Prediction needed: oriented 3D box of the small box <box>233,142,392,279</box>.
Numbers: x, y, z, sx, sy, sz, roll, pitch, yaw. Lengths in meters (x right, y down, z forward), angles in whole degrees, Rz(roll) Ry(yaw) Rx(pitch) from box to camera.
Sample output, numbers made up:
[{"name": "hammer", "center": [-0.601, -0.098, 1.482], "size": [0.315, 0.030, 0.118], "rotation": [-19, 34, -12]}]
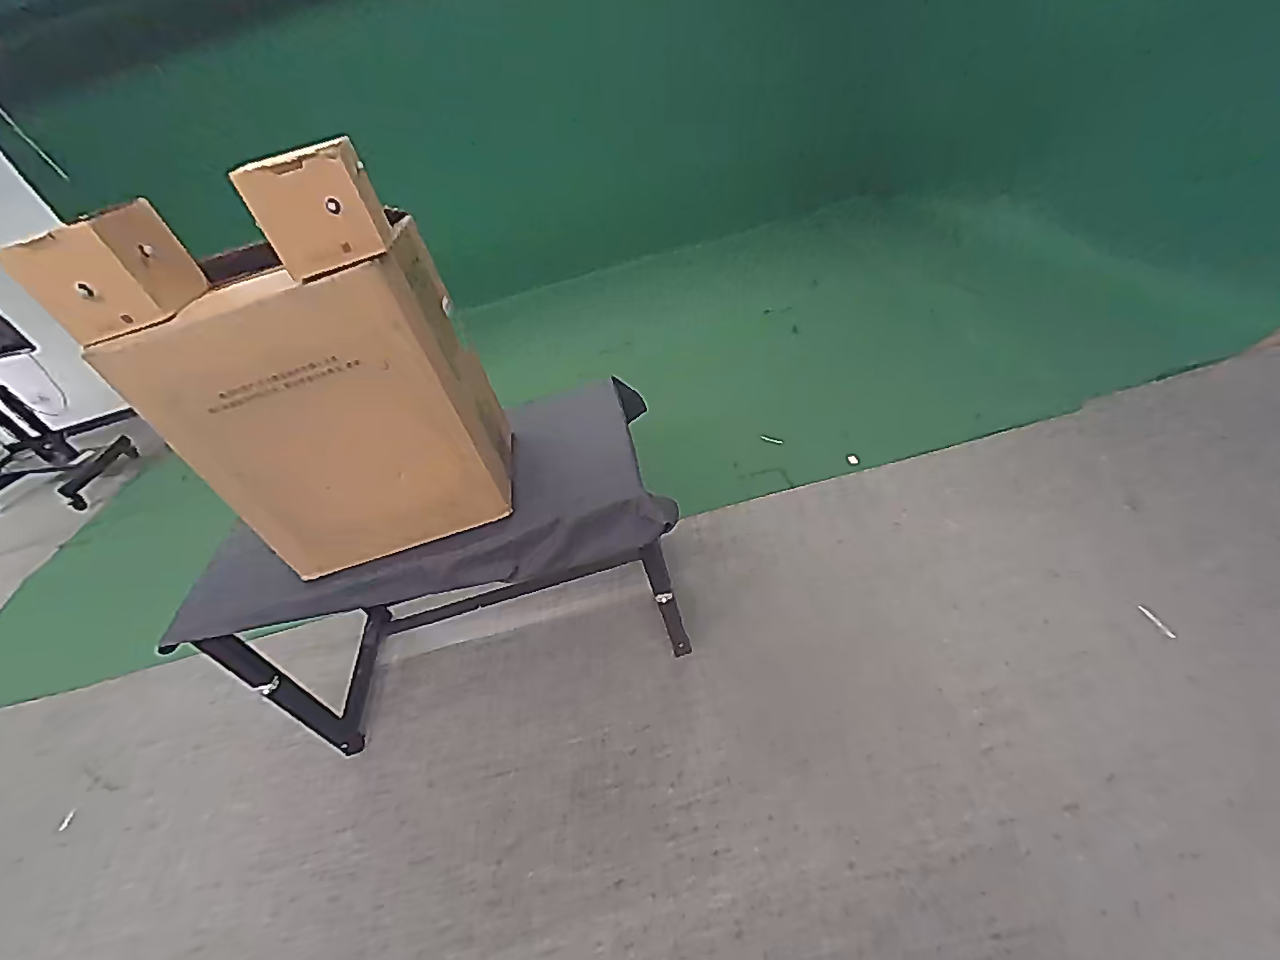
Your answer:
[{"name": "small box", "center": [-0.551, -0.466, 0.941], "size": [0.168, 0.176, 0.179], "rotation": [-20, 38, -8]}]

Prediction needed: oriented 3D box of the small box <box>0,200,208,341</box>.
[{"name": "small box", "center": [-0.922, -0.363, 0.951], "size": [0.168, 0.176, 0.179], "rotation": [-17, 39, 1]}]
